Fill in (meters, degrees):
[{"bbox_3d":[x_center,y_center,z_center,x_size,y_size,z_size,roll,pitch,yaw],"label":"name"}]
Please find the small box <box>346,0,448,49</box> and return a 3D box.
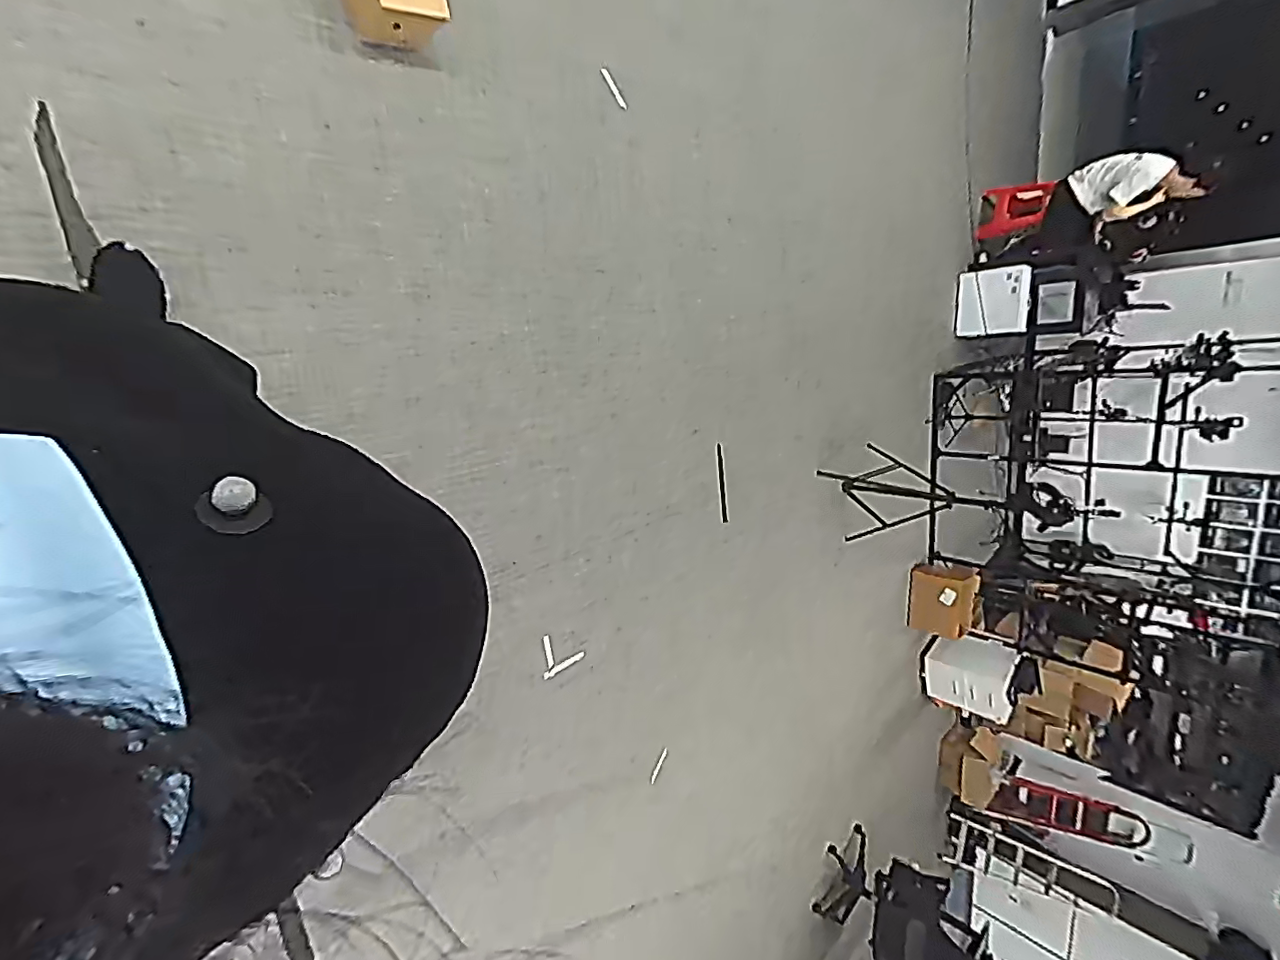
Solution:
[{"bbox_3d":[-0.578,-1.146,1.257,0.168,0.176,0.179,-26,113,-38],"label":"small box"}]
